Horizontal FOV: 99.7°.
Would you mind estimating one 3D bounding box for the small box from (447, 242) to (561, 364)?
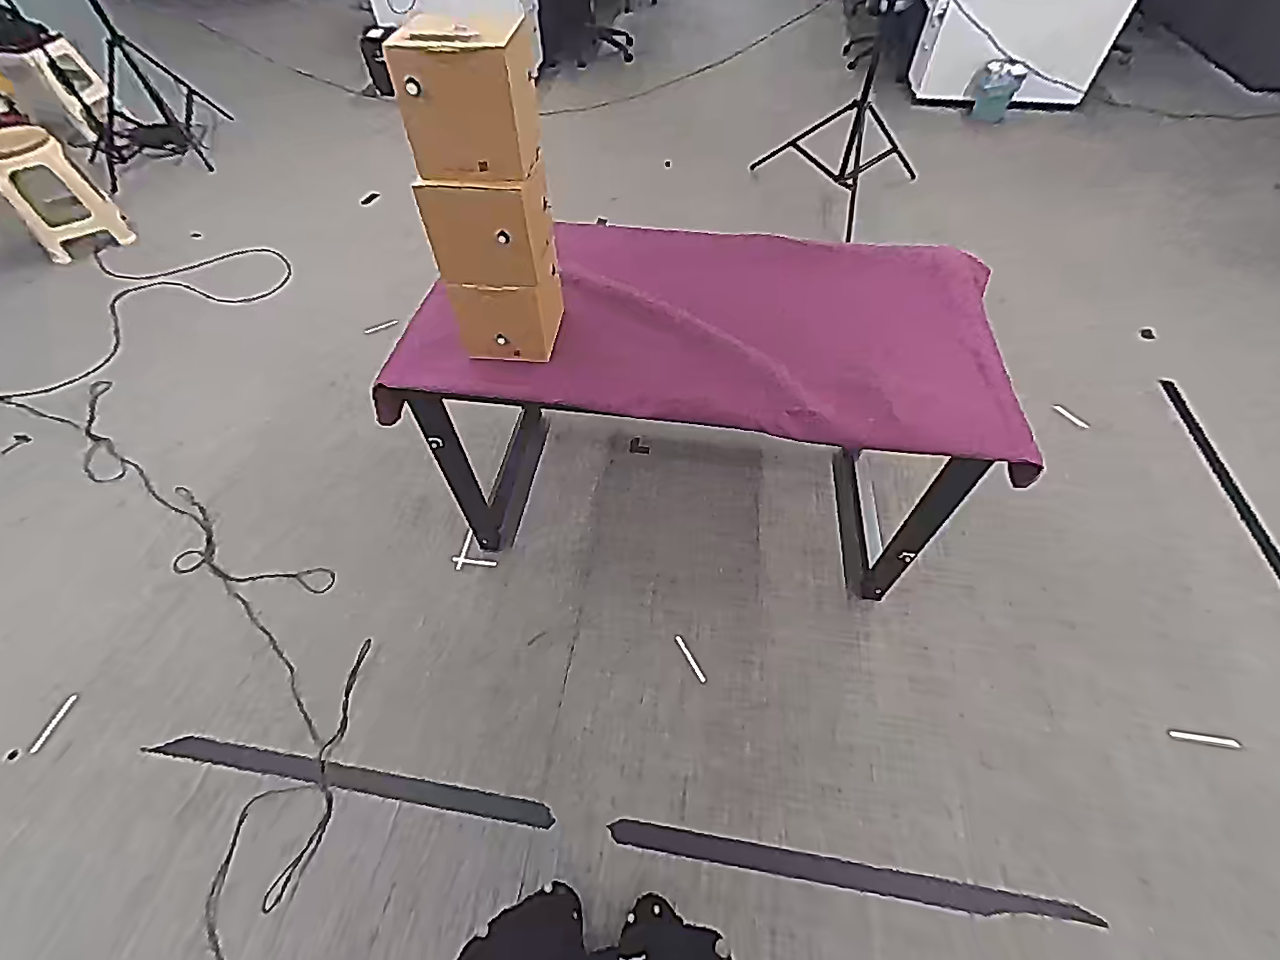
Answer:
[{"bbox_3d":[-0.257,-0.354,1.072,0.168,0.176,0.179,4,54,4],"label":"small box"}]

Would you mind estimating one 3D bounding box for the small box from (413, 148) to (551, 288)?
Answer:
[{"bbox_3d":[-0.260,-0.453,0.943,0.179,0.176,0.168,3,51,3],"label":"small box"}]
